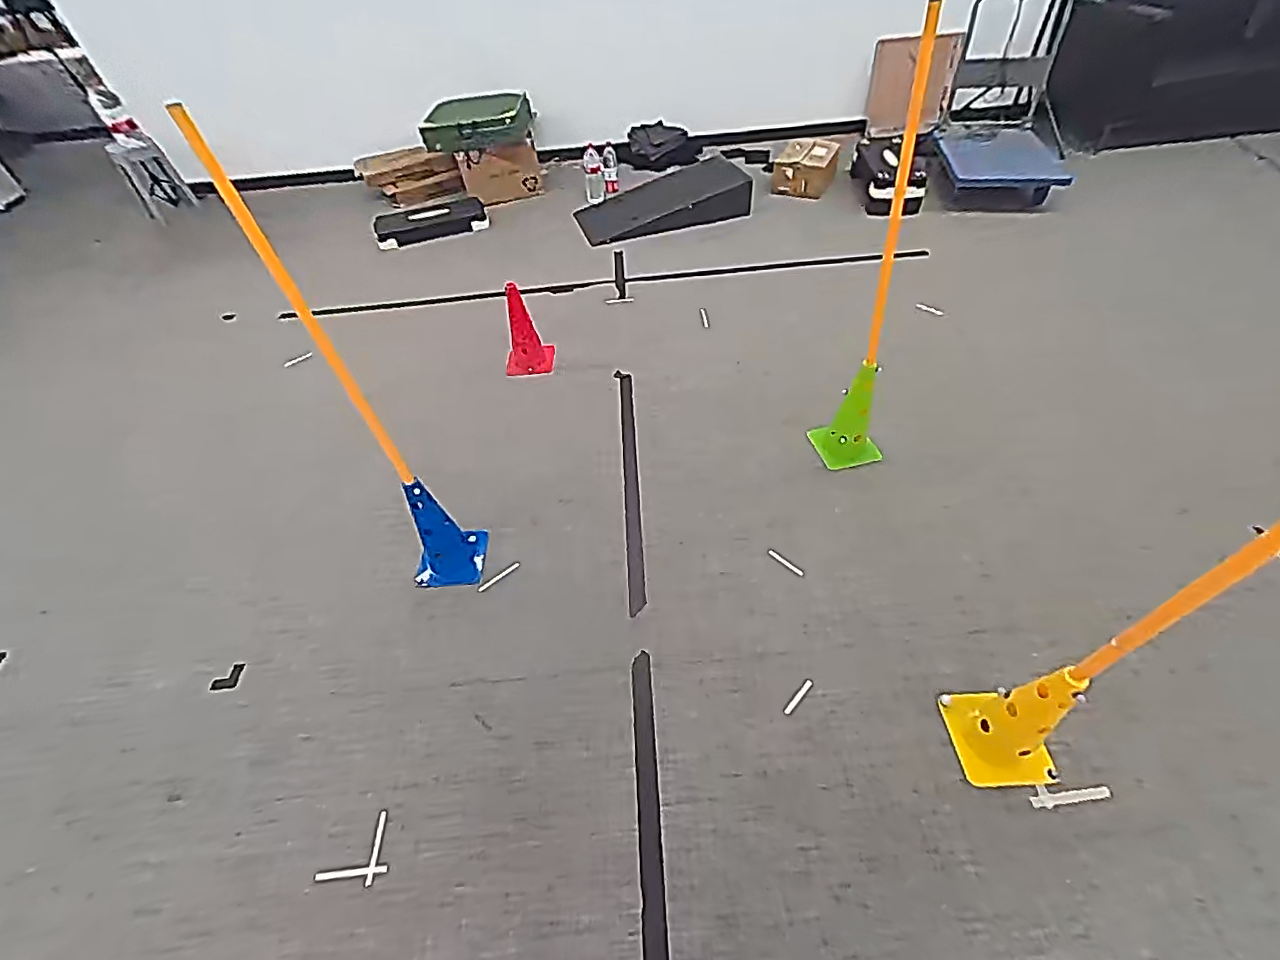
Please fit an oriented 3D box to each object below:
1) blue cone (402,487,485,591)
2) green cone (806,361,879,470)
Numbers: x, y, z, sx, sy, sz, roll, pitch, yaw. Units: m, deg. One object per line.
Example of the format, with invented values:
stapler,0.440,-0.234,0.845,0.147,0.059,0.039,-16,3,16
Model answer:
blue cone,-0.593,0.148,1.558,0.193,0.380,0.192,-3,48,2
green cone,0.700,-0.235,1.772,0.200,0.368,0.202,-13,50,-7
